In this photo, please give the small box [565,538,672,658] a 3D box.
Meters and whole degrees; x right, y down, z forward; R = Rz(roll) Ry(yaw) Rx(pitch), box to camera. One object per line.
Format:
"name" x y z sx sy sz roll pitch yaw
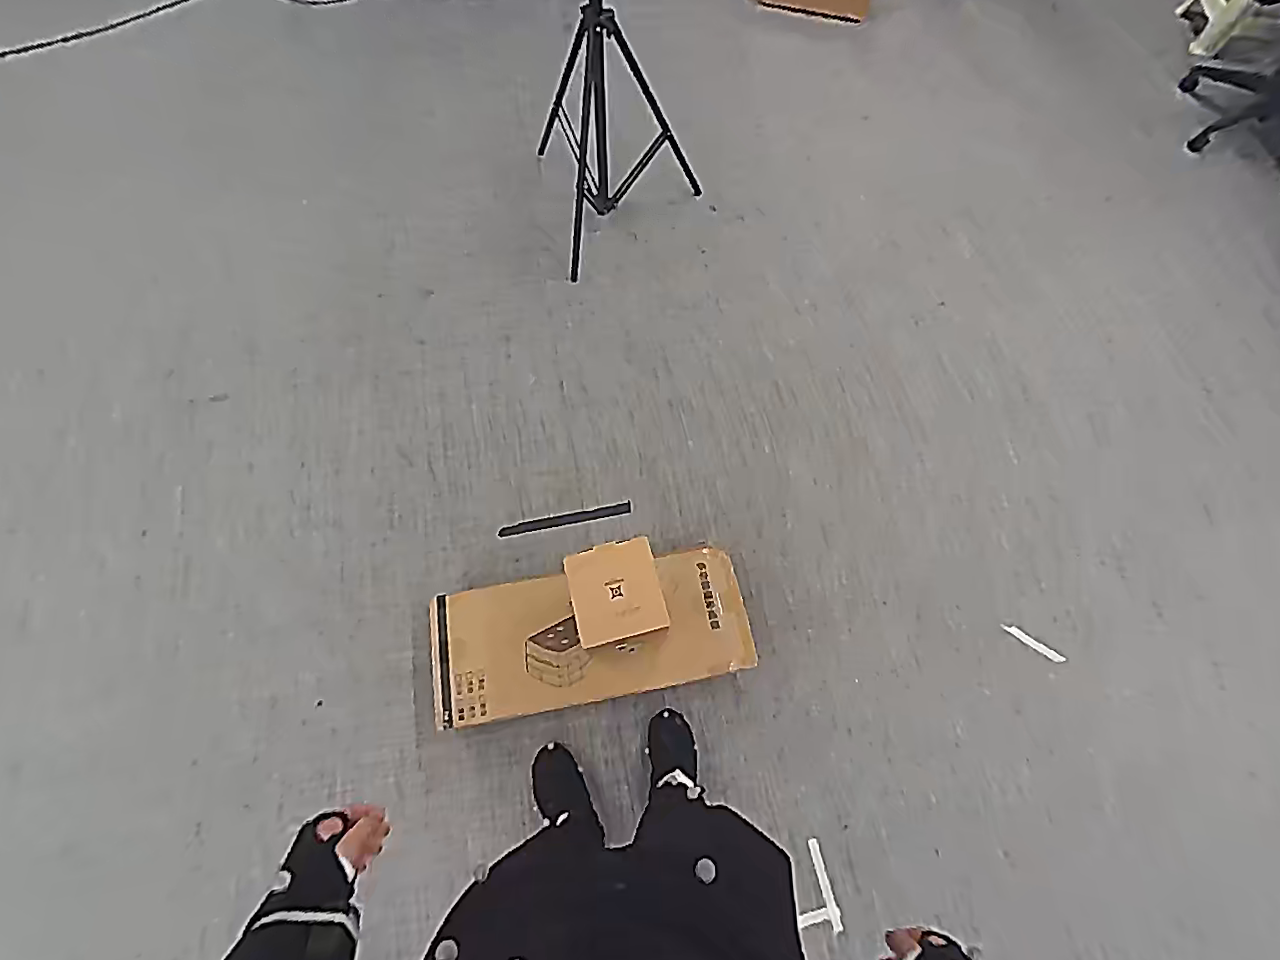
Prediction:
"small box" -0.044 0.236 1.058 0.168 0.176 0.179 -14 69 -6
